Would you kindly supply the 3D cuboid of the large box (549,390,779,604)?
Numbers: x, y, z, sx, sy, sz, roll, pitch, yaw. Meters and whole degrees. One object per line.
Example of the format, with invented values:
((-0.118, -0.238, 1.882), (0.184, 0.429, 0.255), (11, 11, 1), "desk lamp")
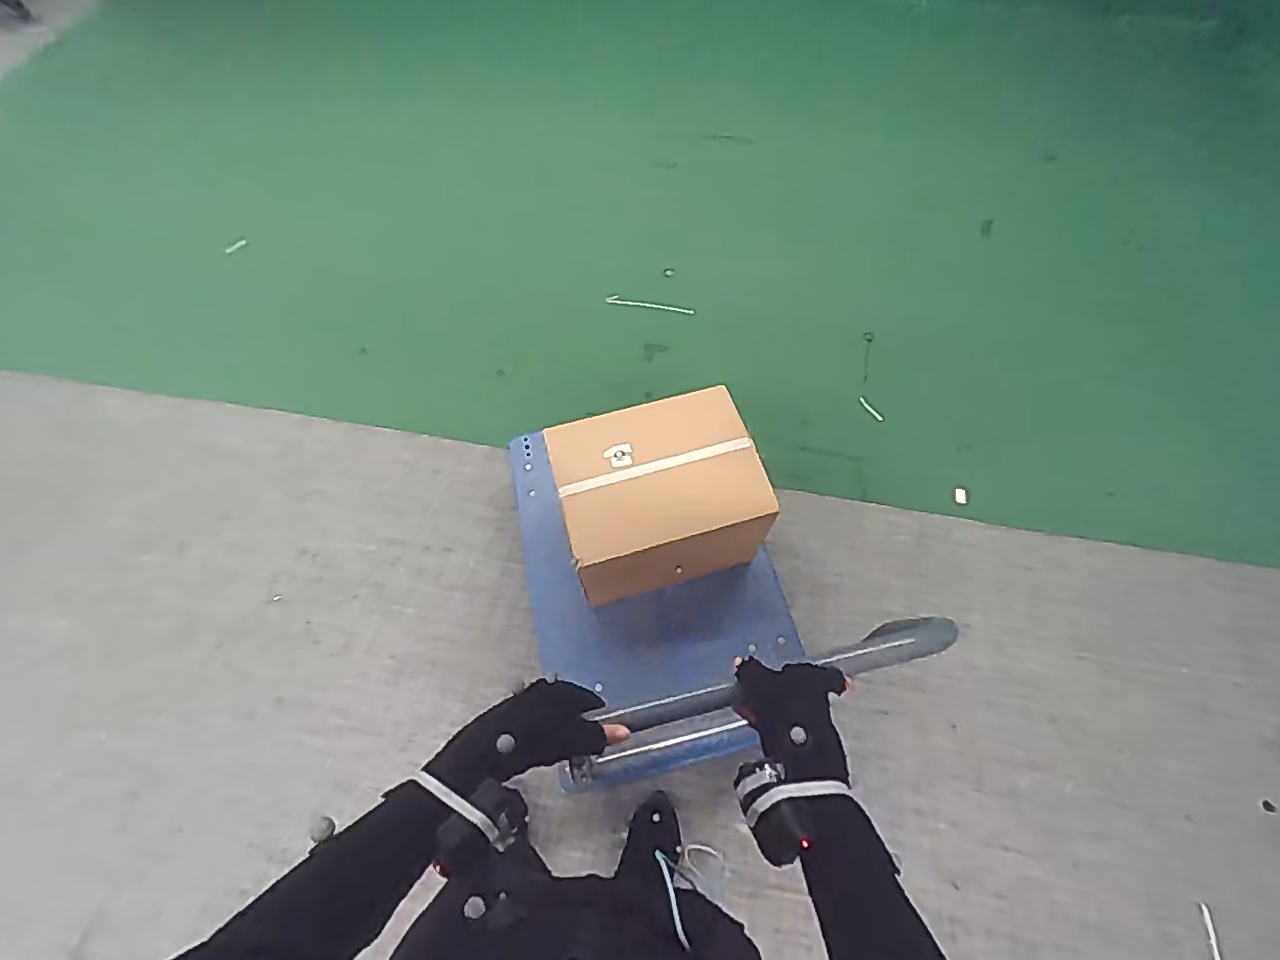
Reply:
((0.044, 0.049, 1.221), (0.408, 0.320, 0.320), (-15, 64, -7), "large box")
